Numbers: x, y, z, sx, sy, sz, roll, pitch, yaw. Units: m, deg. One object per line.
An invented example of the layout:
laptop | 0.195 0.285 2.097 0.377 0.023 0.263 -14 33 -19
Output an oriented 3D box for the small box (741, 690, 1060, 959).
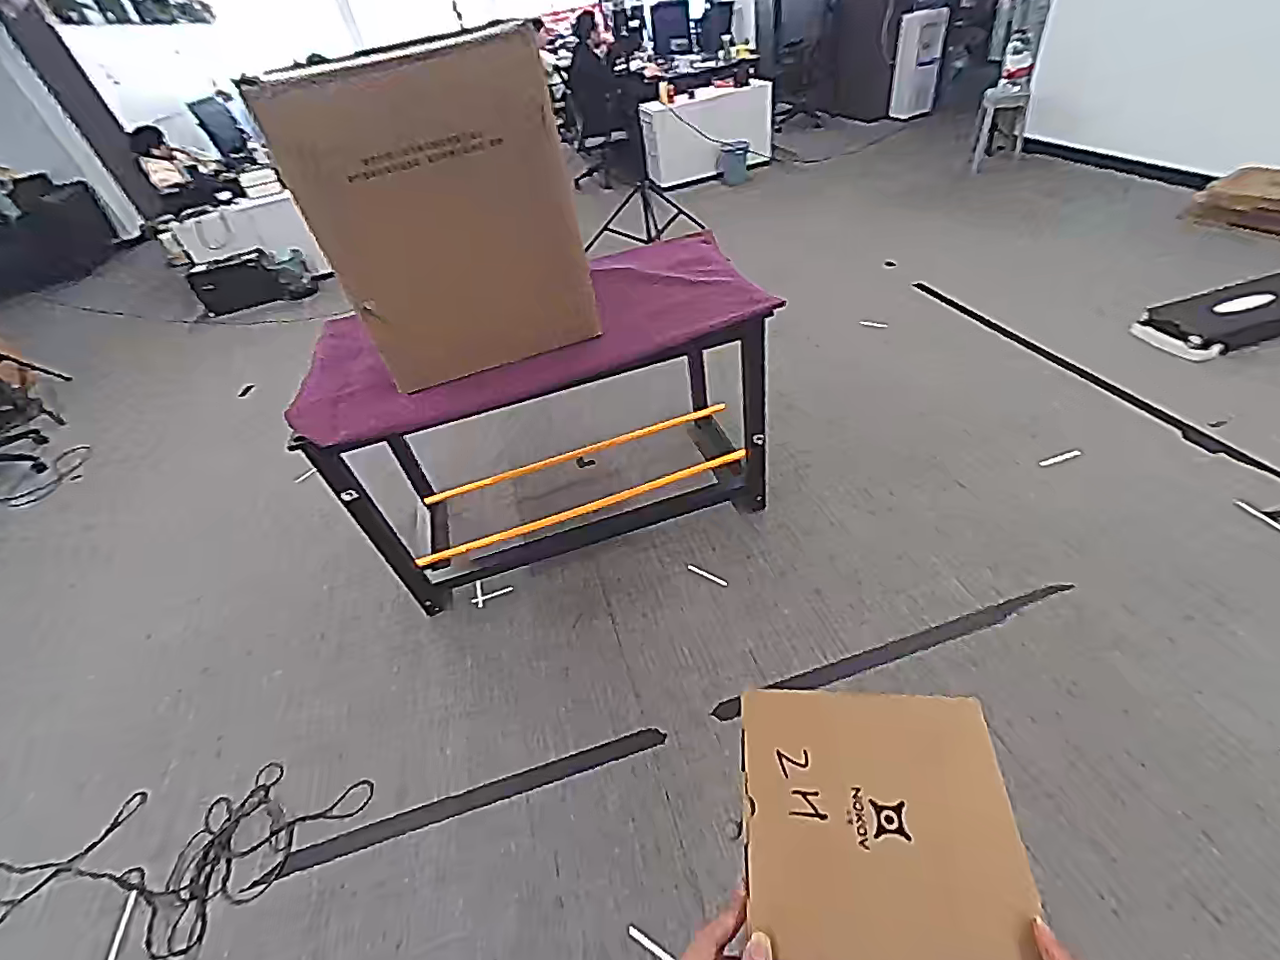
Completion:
small box | 0.171 0.279 0.421 0.179 0.176 0.168 -2 48 10
